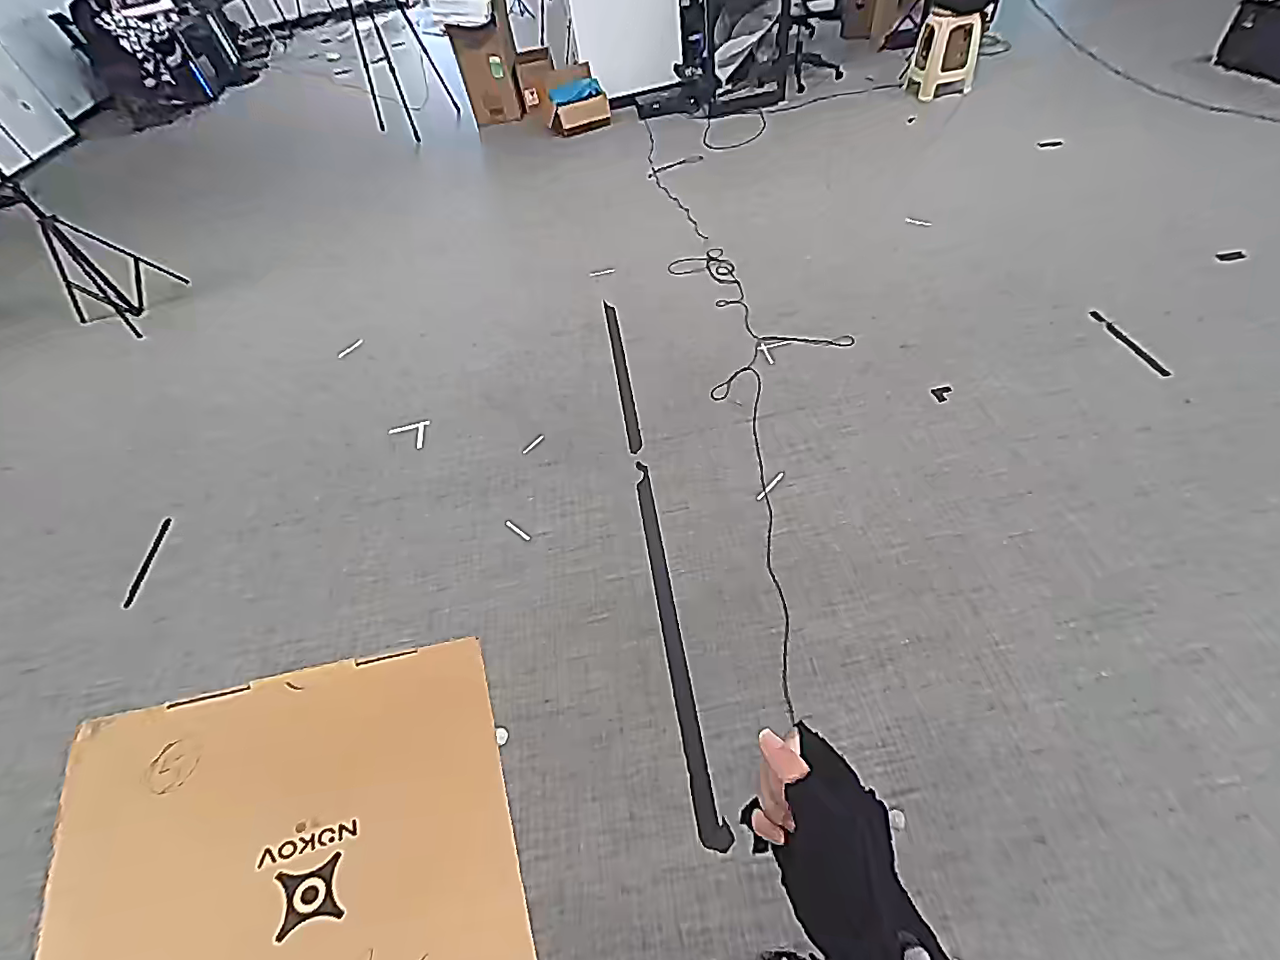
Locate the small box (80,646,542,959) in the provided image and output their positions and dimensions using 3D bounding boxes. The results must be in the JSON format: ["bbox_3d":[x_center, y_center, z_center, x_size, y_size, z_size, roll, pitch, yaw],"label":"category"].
[{"bbox_3d":[-0.160,0.217,0.297,0.168,0.176,0.179,-6,59,-25],"label":"small box"}]
